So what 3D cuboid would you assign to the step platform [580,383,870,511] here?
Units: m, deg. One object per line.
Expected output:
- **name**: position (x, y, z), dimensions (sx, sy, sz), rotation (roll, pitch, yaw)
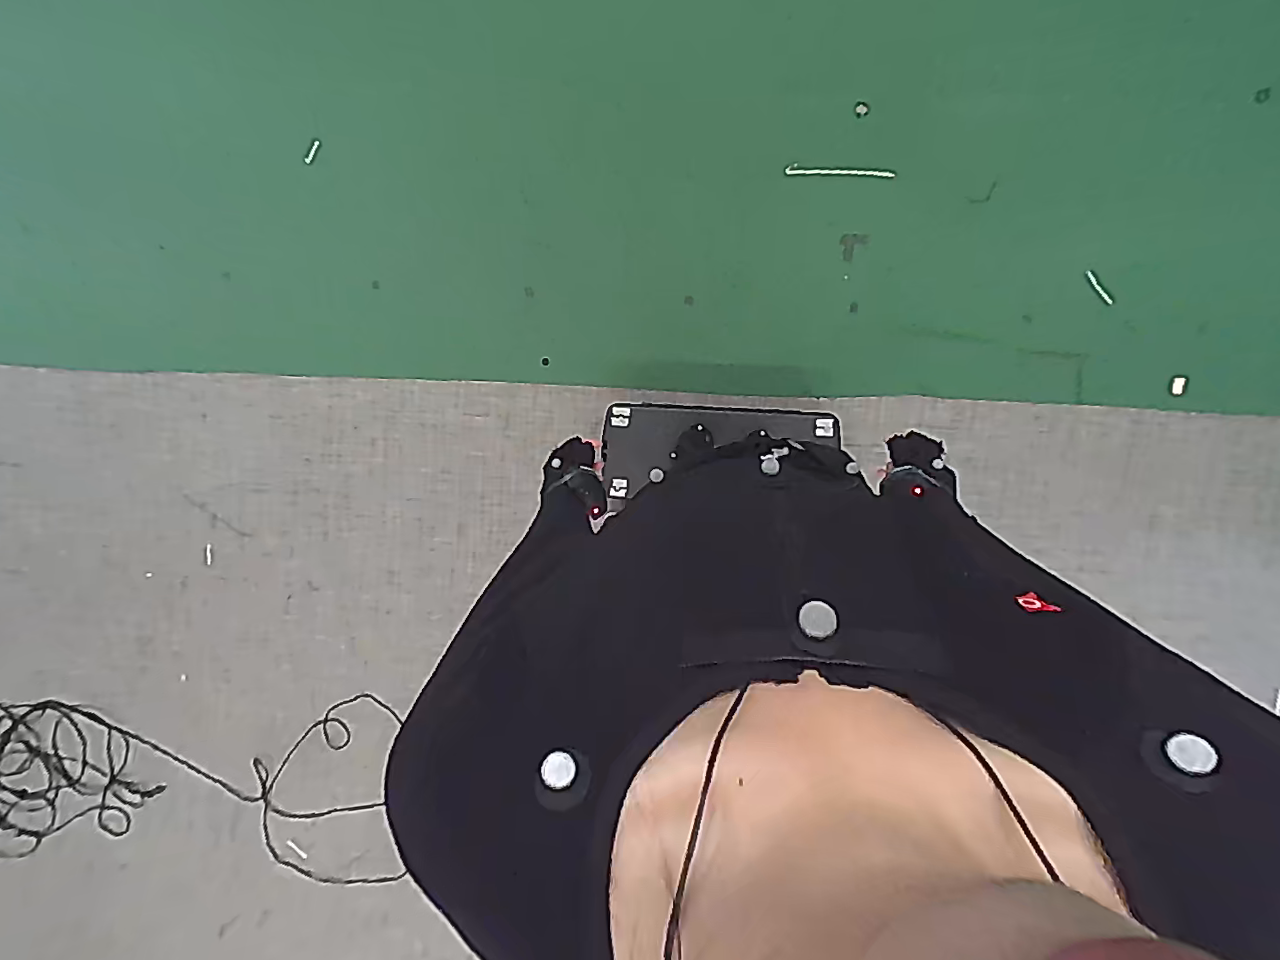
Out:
- **step platform**: position (0.200, -0.087, 1.372), dimensions (0.684, 0.204, 0.286), rotation (2, 96, 4)
